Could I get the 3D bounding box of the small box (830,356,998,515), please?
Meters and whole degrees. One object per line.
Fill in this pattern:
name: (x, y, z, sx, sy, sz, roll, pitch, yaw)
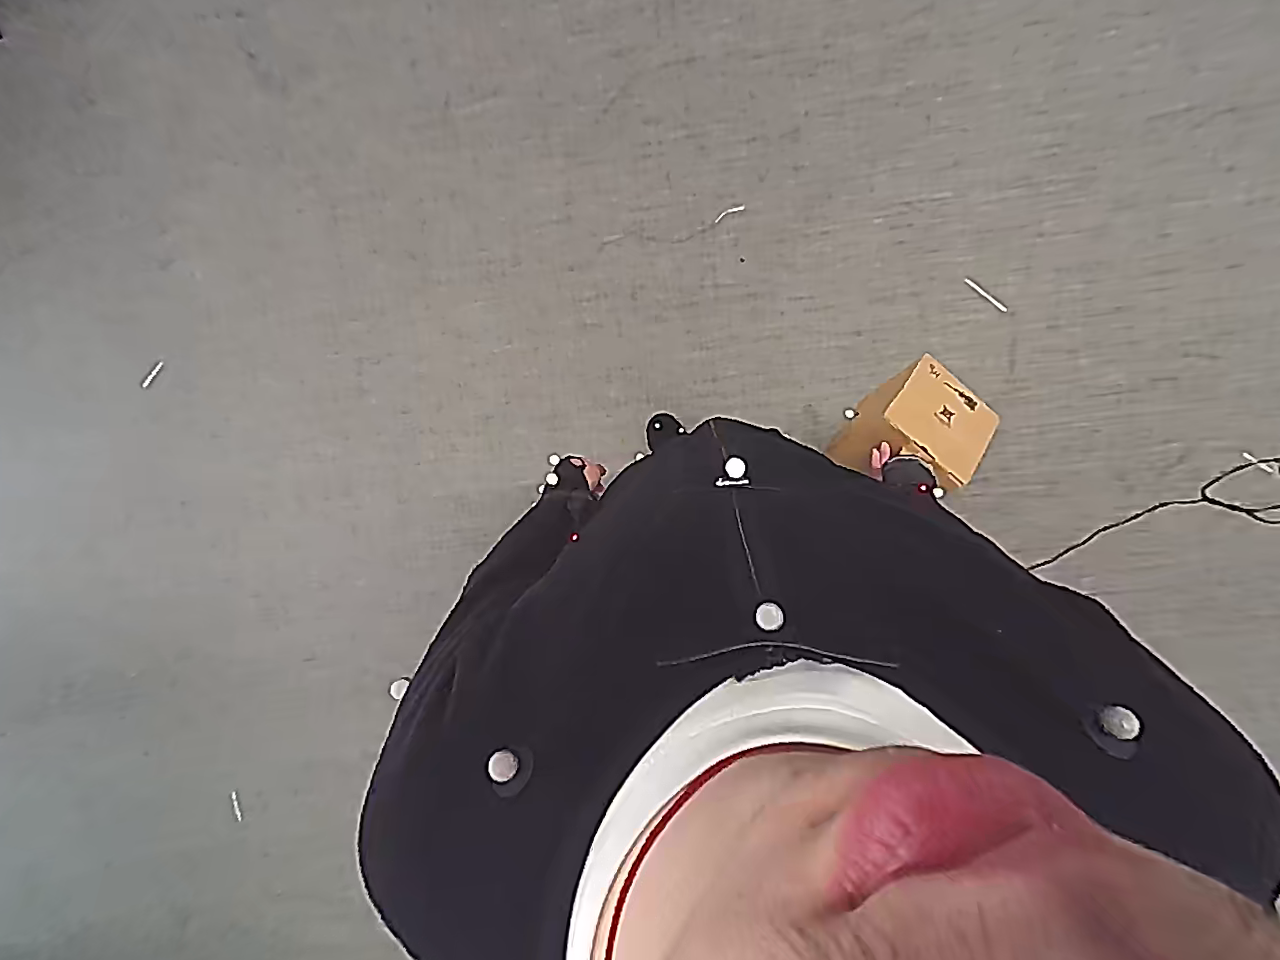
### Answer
small box: (0.457, -0.067, 0.925, 0.168, 0.176, 0.179, 40, 63, 3)
